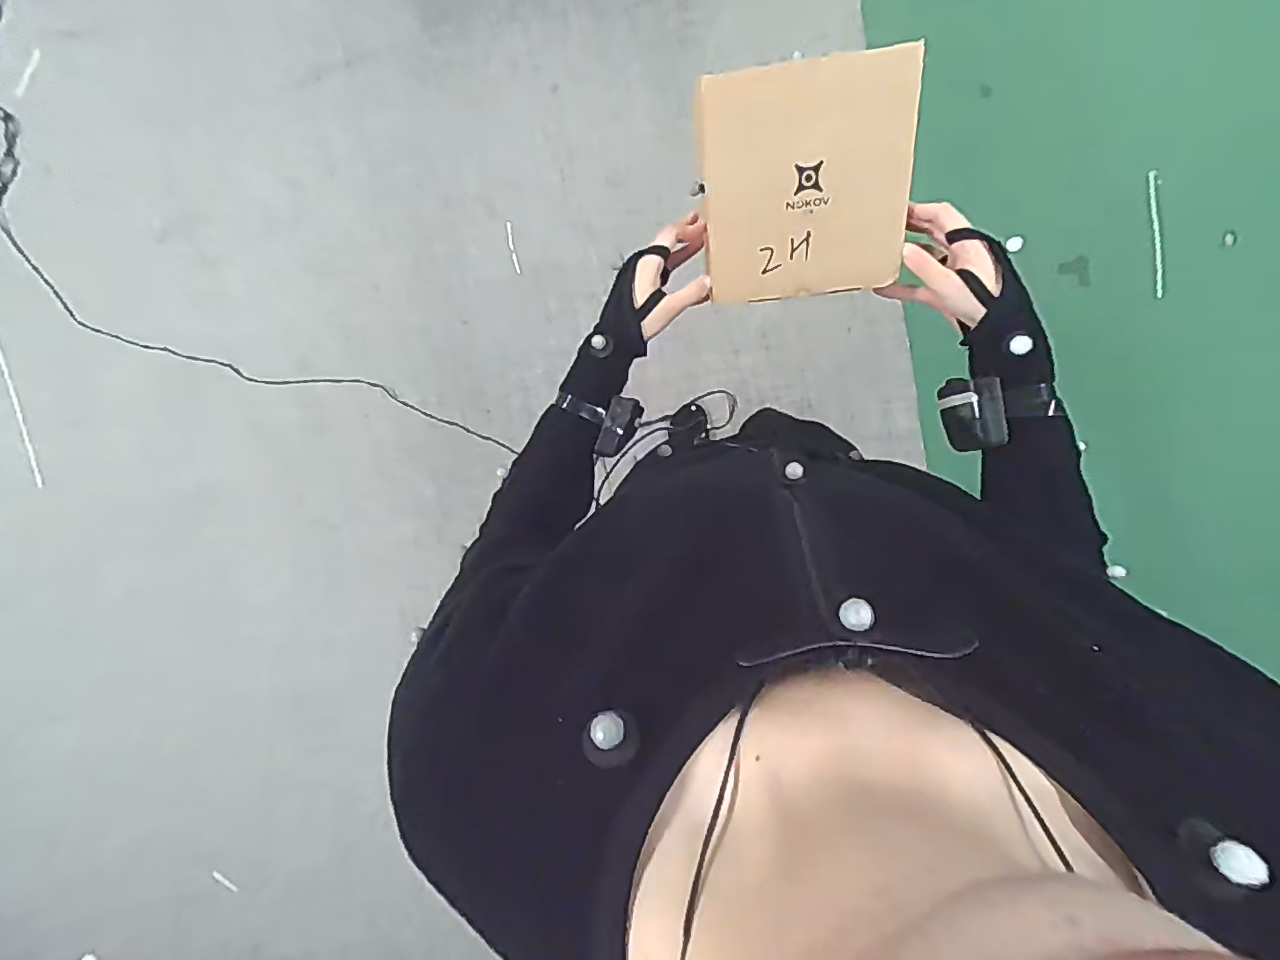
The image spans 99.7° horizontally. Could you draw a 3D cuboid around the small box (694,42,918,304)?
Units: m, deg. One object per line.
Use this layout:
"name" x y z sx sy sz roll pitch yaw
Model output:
"small box" 0.140 -0.280 0.516 0.168 0.176 0.179 -4 119 7
